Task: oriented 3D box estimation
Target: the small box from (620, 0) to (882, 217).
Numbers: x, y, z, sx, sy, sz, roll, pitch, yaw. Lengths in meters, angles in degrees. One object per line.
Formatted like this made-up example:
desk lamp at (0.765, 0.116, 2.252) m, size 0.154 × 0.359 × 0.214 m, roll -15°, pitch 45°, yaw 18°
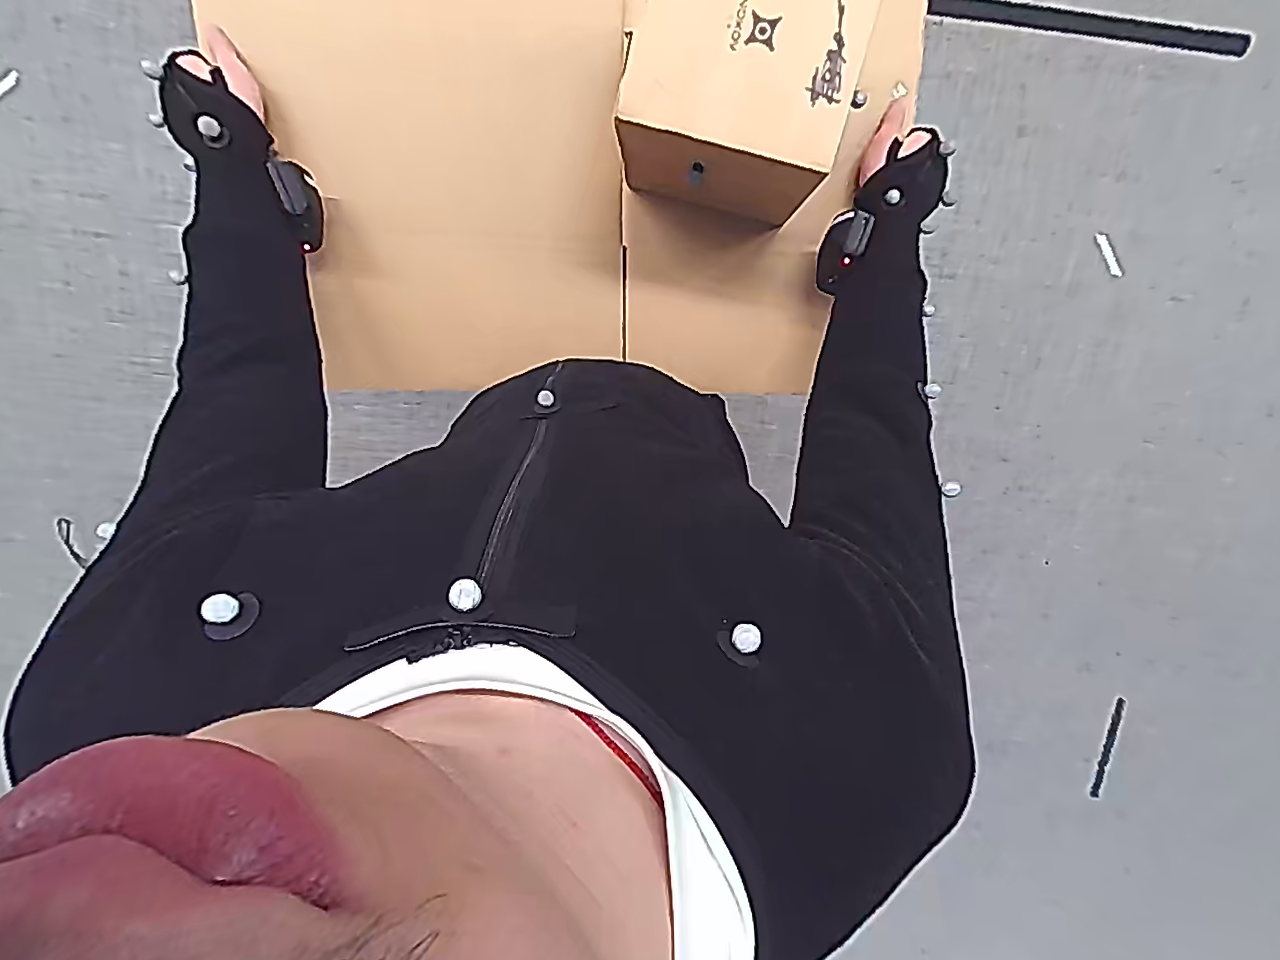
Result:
small box at (0.091, -0.358, 0.486) m, size 0.179 × 0.176 × 0.168 m, roll 14°, pitch 103°, yaw 0°
